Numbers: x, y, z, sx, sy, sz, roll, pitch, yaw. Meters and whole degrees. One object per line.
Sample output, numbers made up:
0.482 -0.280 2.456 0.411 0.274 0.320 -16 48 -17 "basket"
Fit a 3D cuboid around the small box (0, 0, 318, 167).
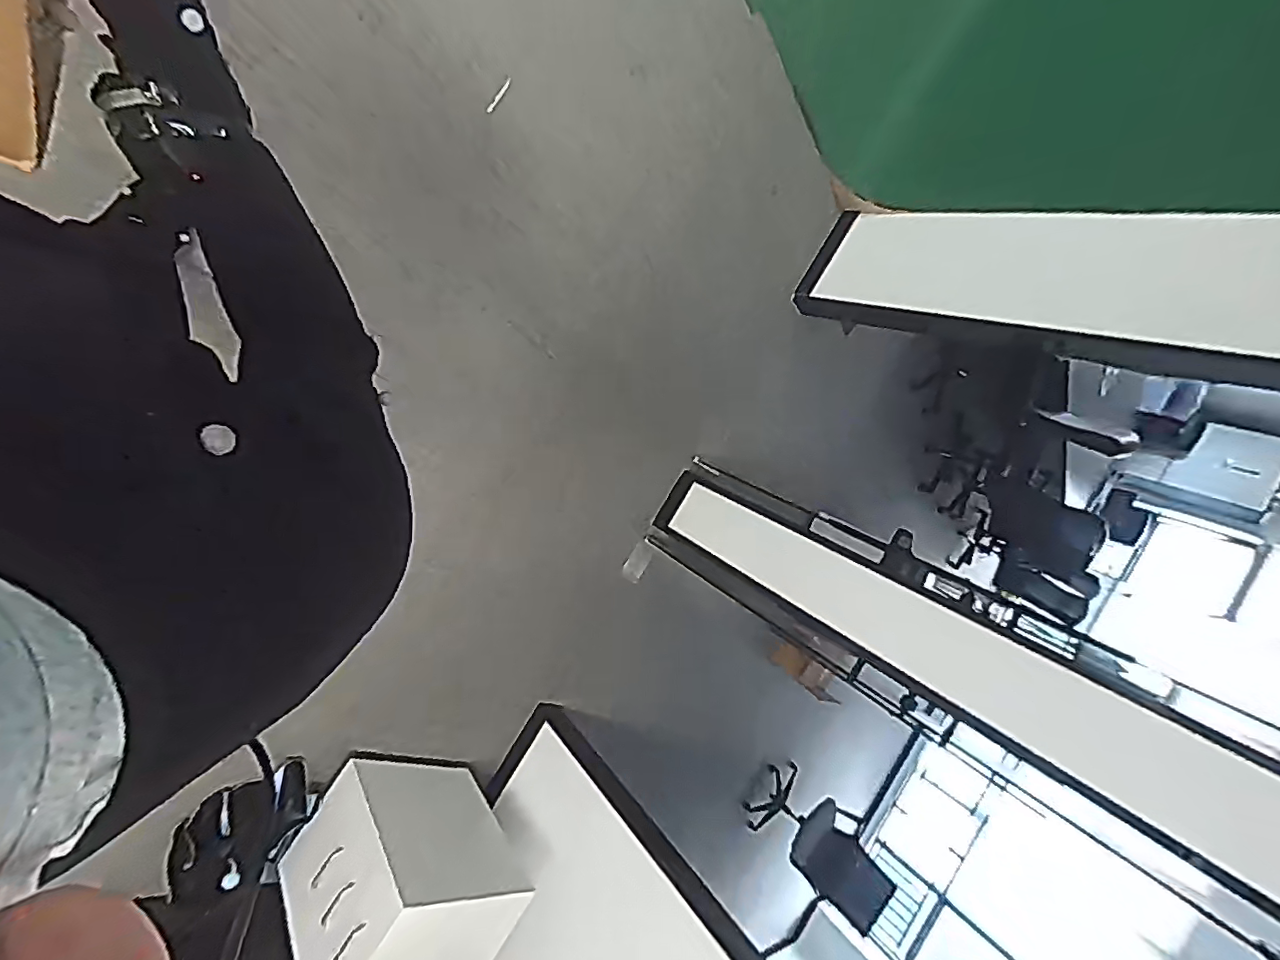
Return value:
-0.342 -0.350 0.326 0.176 0.168 0.179 -42 164 8 "small box"
